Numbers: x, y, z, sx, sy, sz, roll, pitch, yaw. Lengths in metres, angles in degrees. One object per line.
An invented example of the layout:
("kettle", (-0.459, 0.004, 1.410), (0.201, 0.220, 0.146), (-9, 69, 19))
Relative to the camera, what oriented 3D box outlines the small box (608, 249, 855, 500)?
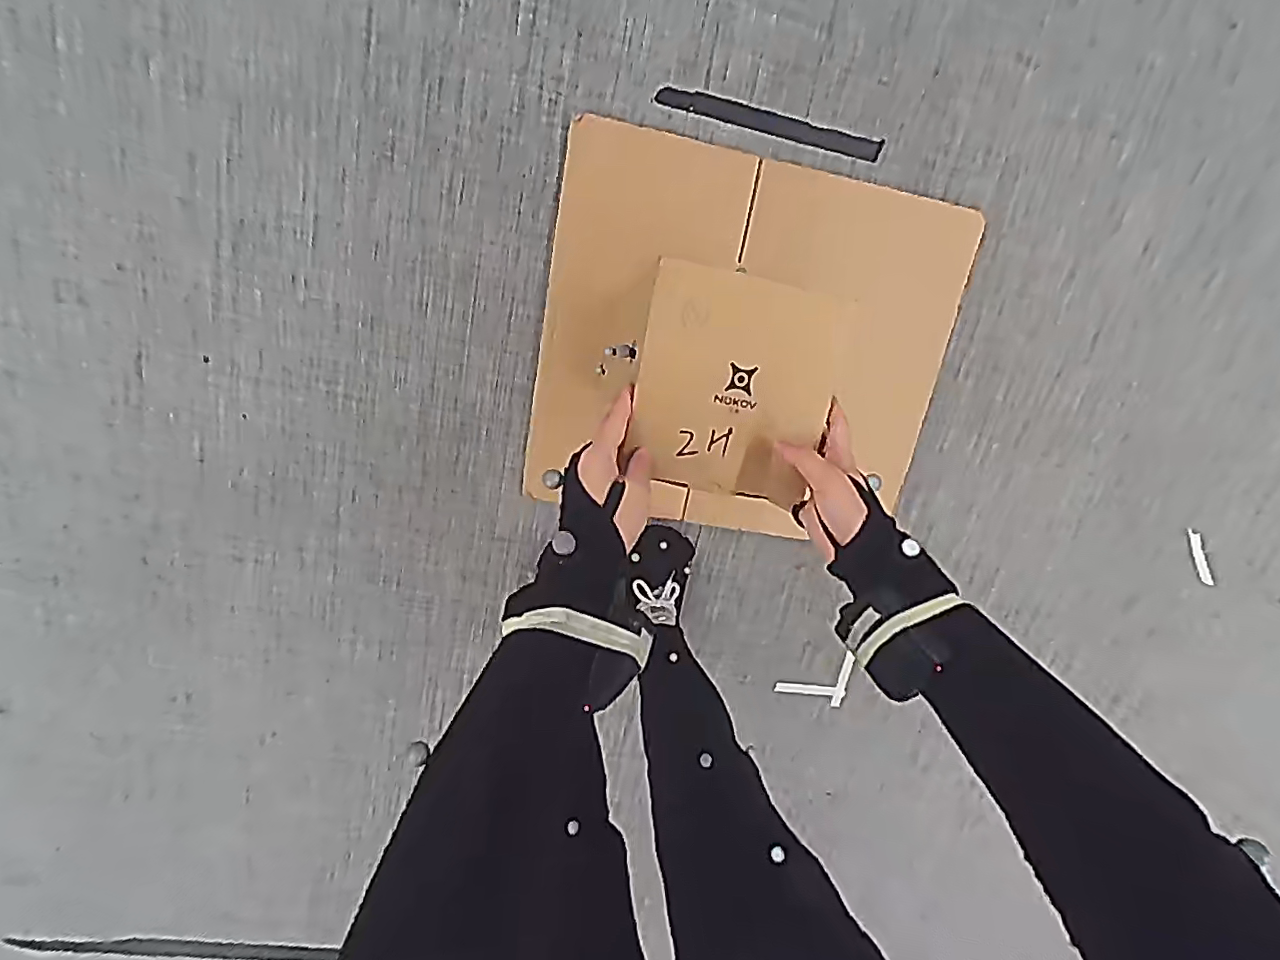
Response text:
("small box", (0.067, -0.099, 0.512), (0.168, 0.176, 0.179), (9, 105, -10))
